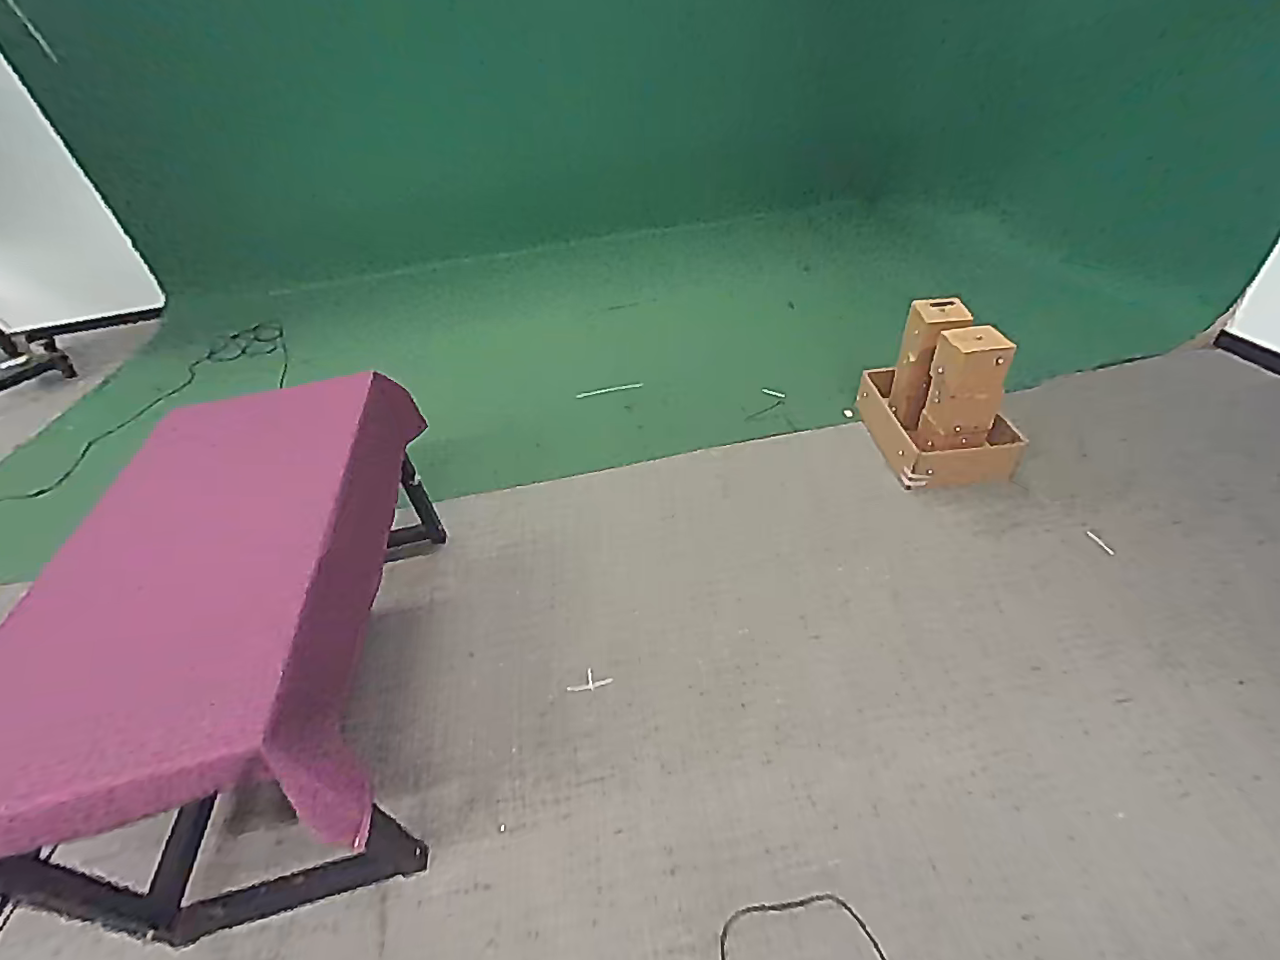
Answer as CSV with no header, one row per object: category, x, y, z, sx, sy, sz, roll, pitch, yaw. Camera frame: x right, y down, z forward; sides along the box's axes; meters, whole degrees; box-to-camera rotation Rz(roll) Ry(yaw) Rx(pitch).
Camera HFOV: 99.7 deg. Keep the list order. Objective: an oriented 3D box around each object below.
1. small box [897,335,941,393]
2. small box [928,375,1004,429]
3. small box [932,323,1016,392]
small box,1.155,-0.467,2.189,0.168,0.176,0.179,0,44,11
small box,1.188,-0.298,1.985,0.168,0.176,0.179,-8,39,2
small box,1.154,-0.424,1.884,0.179,0.176,0.168,-8,40,3
